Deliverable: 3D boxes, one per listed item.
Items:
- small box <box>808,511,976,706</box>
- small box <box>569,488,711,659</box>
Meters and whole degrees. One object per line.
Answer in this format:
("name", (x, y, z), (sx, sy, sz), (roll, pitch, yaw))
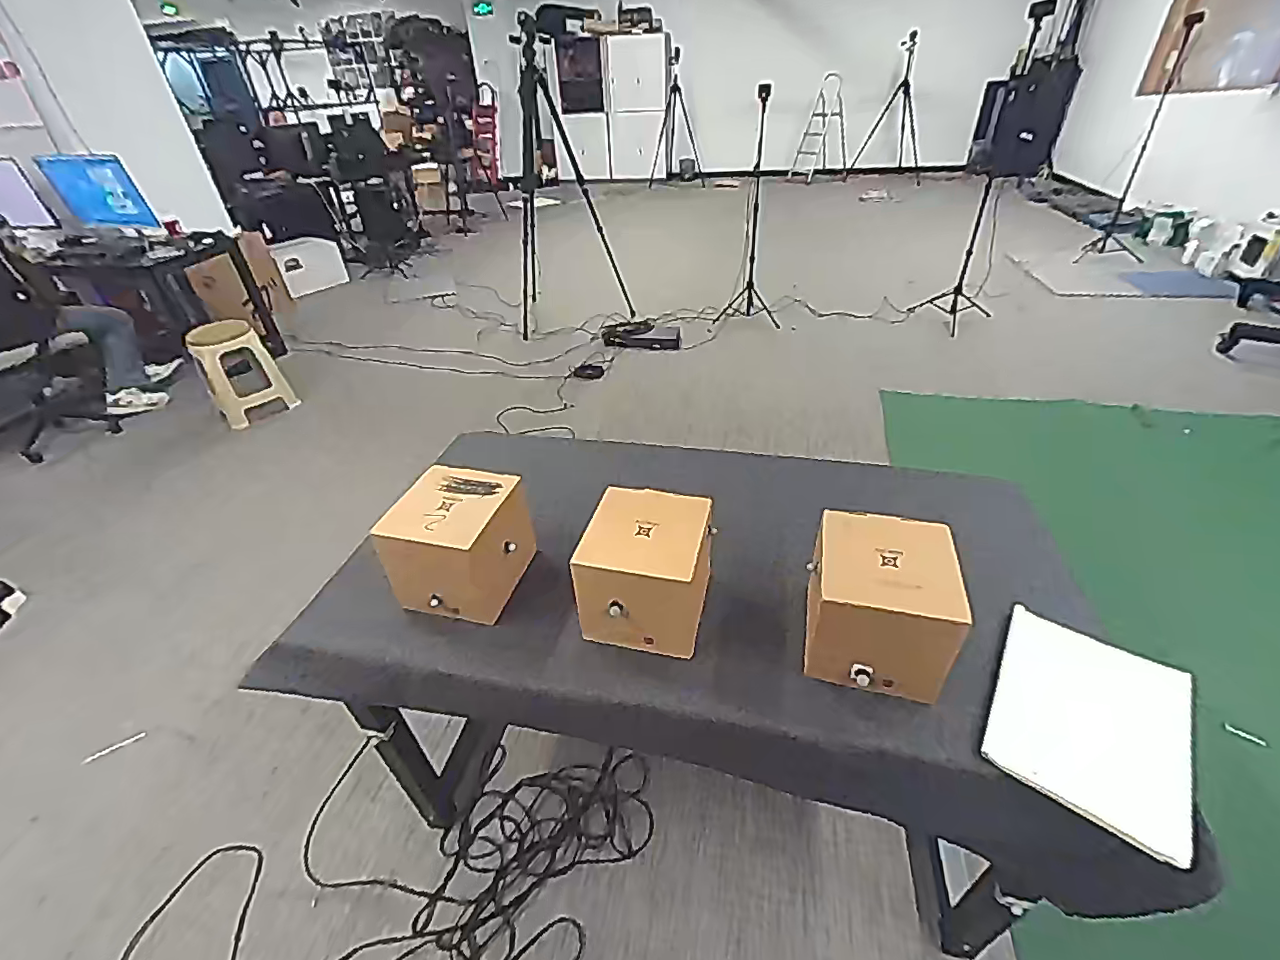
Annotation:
("small box", (0.323, 0.169, 0.730), (0.168, 0.176, 0.179), (6, 38, 15))
("small box", (0.011, 0.136, 0.799), (0.168, 0.176, 0.179), (6, 37, 14))
